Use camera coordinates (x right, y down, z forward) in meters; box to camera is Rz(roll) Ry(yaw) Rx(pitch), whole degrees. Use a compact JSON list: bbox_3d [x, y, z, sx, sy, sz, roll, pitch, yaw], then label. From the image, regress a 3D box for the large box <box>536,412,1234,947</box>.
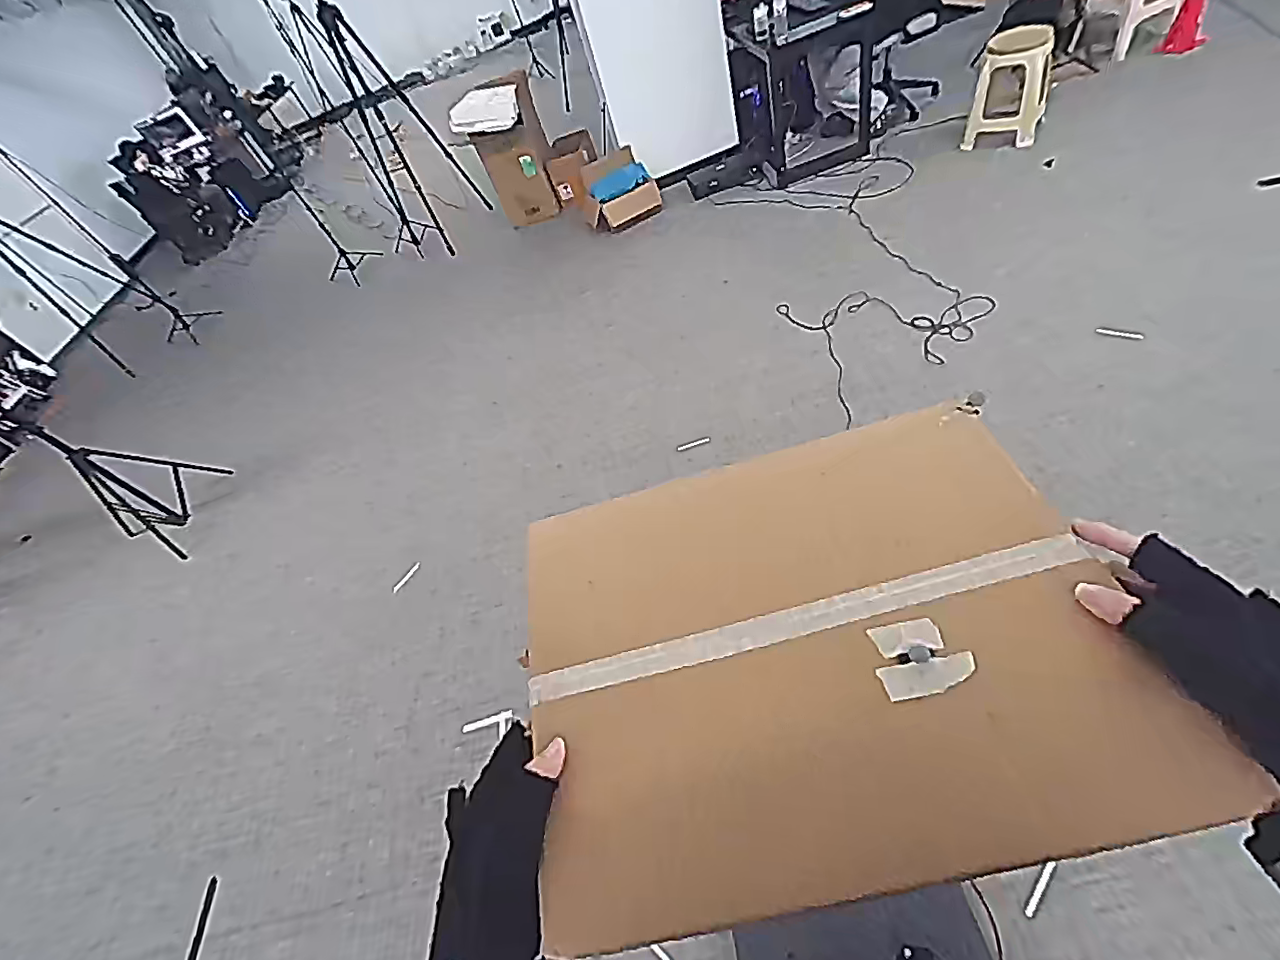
[{"bbox_3d":[0.150,0.198,0.519,0.408,0.320,0.320,-17,51,5],"label":"large box"}]
